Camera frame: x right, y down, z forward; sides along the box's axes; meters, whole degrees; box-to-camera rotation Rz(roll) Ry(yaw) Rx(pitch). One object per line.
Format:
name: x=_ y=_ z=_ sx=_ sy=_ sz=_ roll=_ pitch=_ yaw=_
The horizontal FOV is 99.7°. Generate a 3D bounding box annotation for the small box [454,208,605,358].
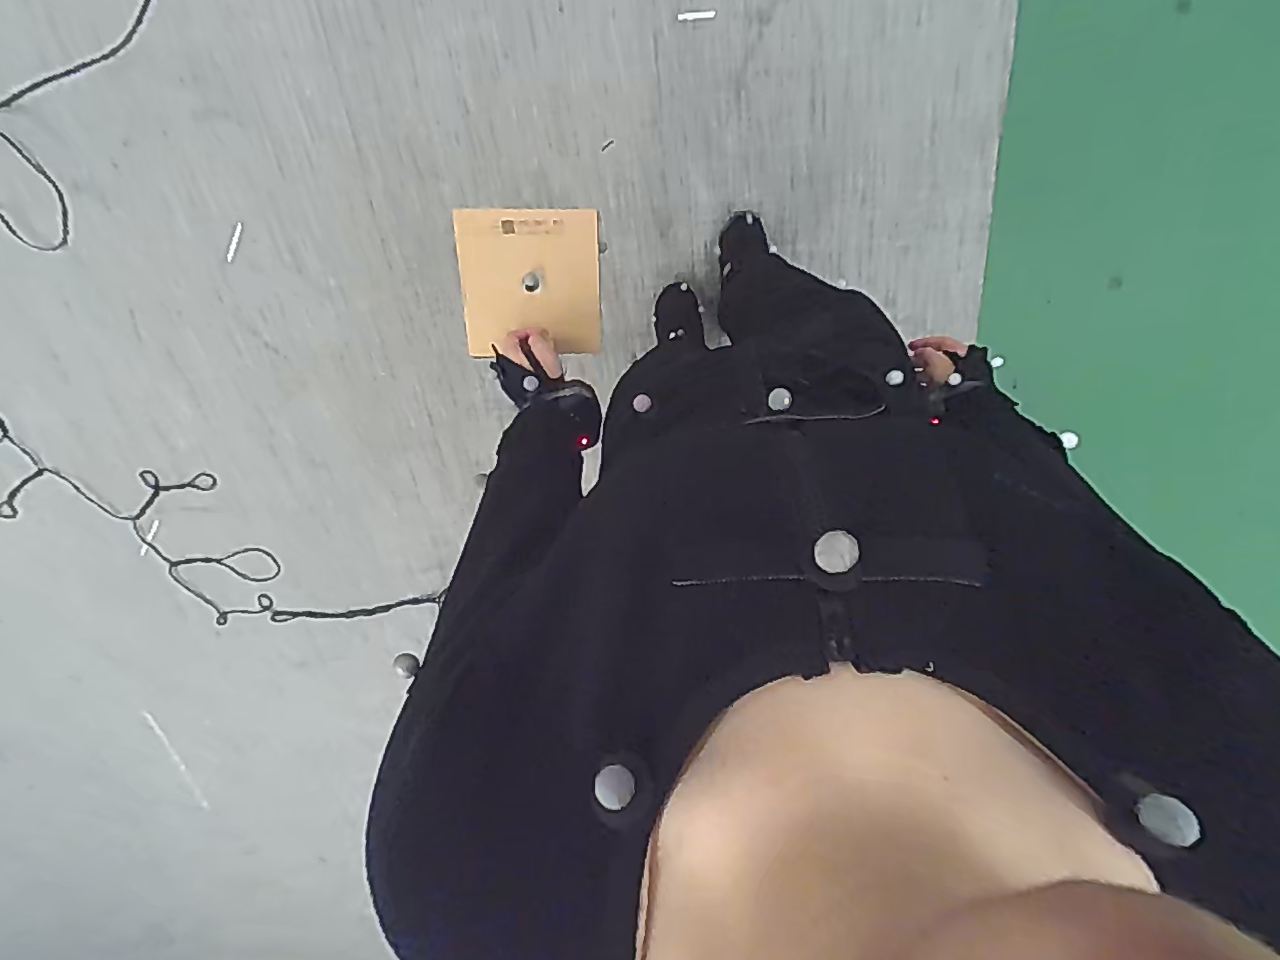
small box: x=-0.142 y=-0.266 z=0.726 sx=0.168 sy=0.179 sz=0.176 roll=-5 pitch=111 yaw=-6
